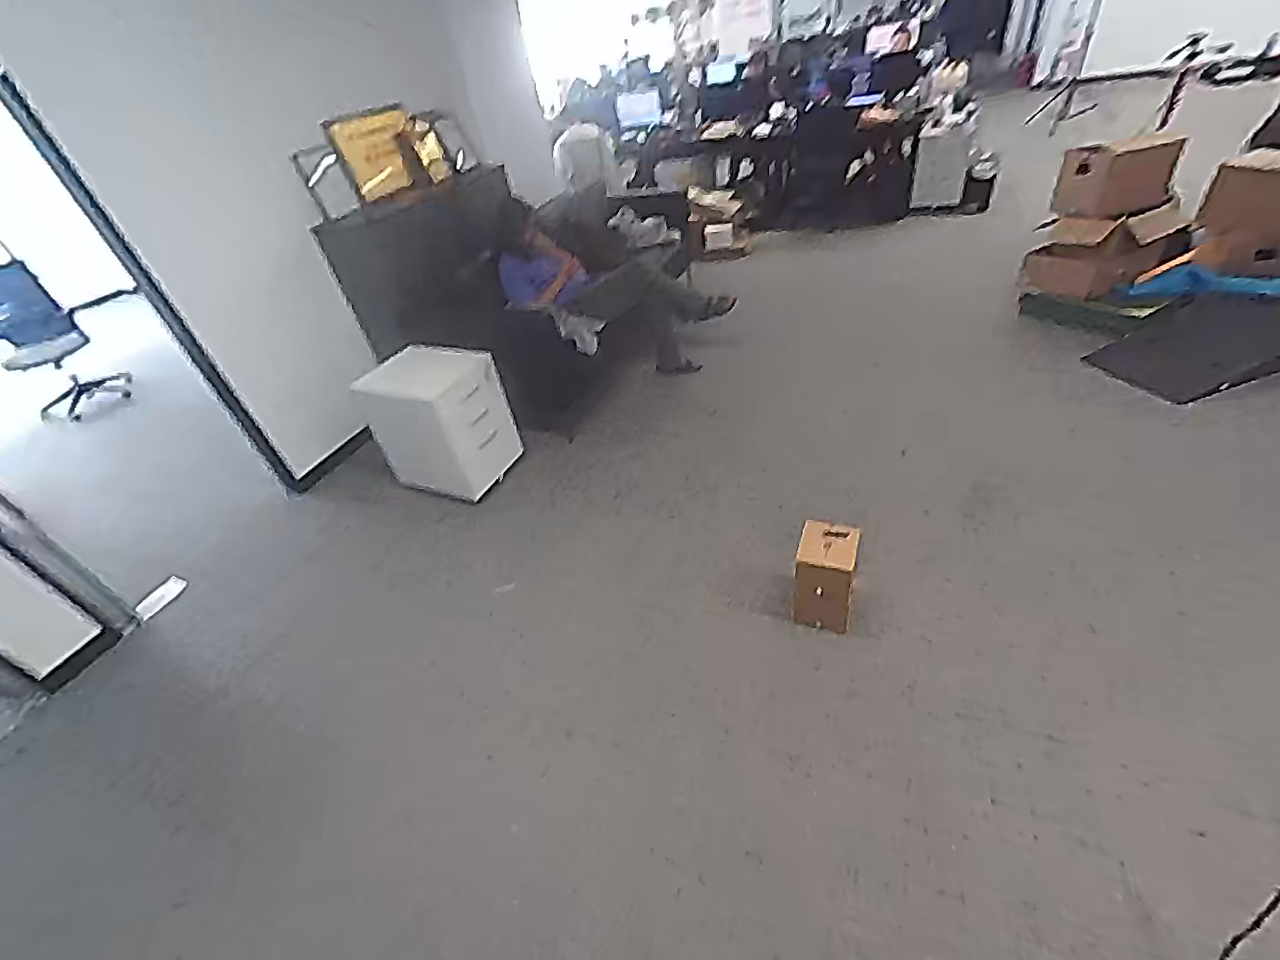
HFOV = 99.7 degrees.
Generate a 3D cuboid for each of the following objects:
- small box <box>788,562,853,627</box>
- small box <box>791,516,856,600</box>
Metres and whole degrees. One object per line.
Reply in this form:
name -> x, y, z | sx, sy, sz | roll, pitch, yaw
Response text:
small box -> 0.601, 0.366, 1.810 | 0.179, 0.176, 0.168 | 10, 43, 23
small box -> 0.575, 0.244, 1.701 | 0.168, 0.176, 0.179 | 9, 43, 23
